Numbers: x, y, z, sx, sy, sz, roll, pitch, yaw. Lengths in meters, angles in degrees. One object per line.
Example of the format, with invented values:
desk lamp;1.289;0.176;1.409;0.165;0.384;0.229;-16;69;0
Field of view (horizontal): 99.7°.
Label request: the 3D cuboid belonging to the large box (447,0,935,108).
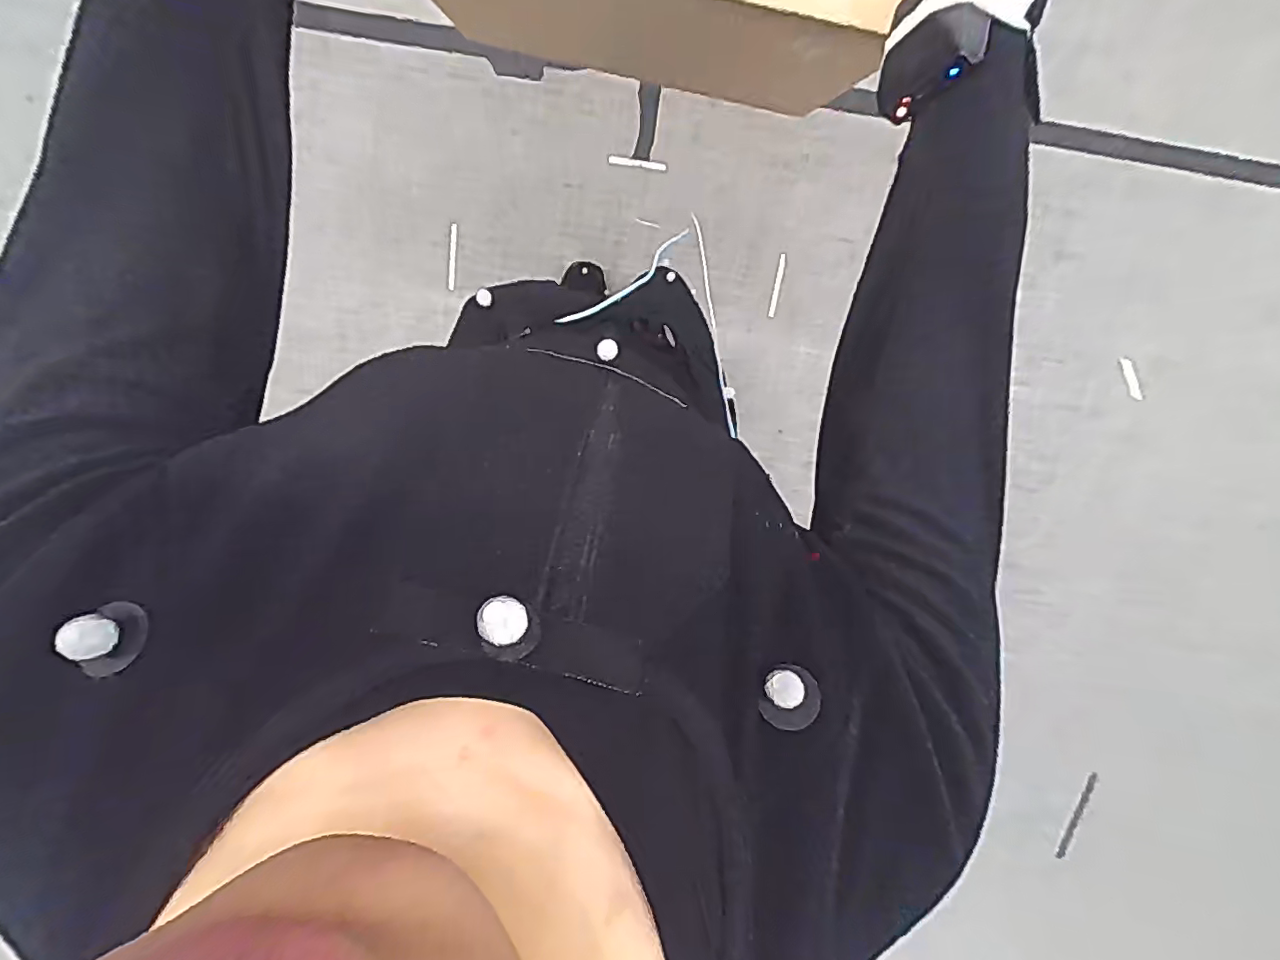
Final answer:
large box;0.032;-0.547;0.437;0.408;0.320;0.320;10;116;-5
